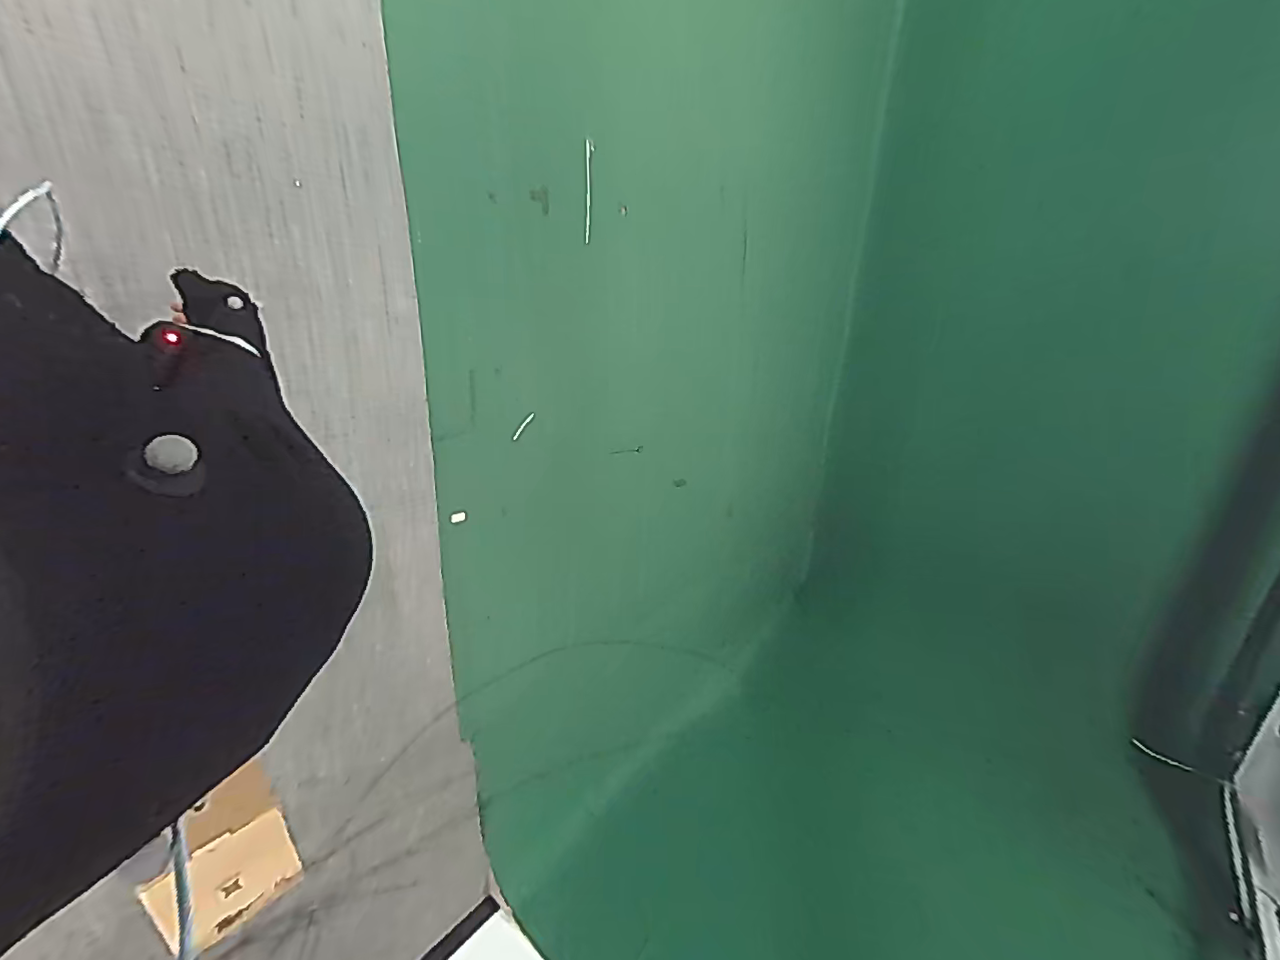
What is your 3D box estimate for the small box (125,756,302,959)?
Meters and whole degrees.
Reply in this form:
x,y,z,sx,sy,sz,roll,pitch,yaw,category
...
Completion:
x,y,z,sx,sy,sz,roll,pitch,yaw,category
-0.667,0.573,0.849,0.168,0.176,0.179,-23,122,-42,small box
